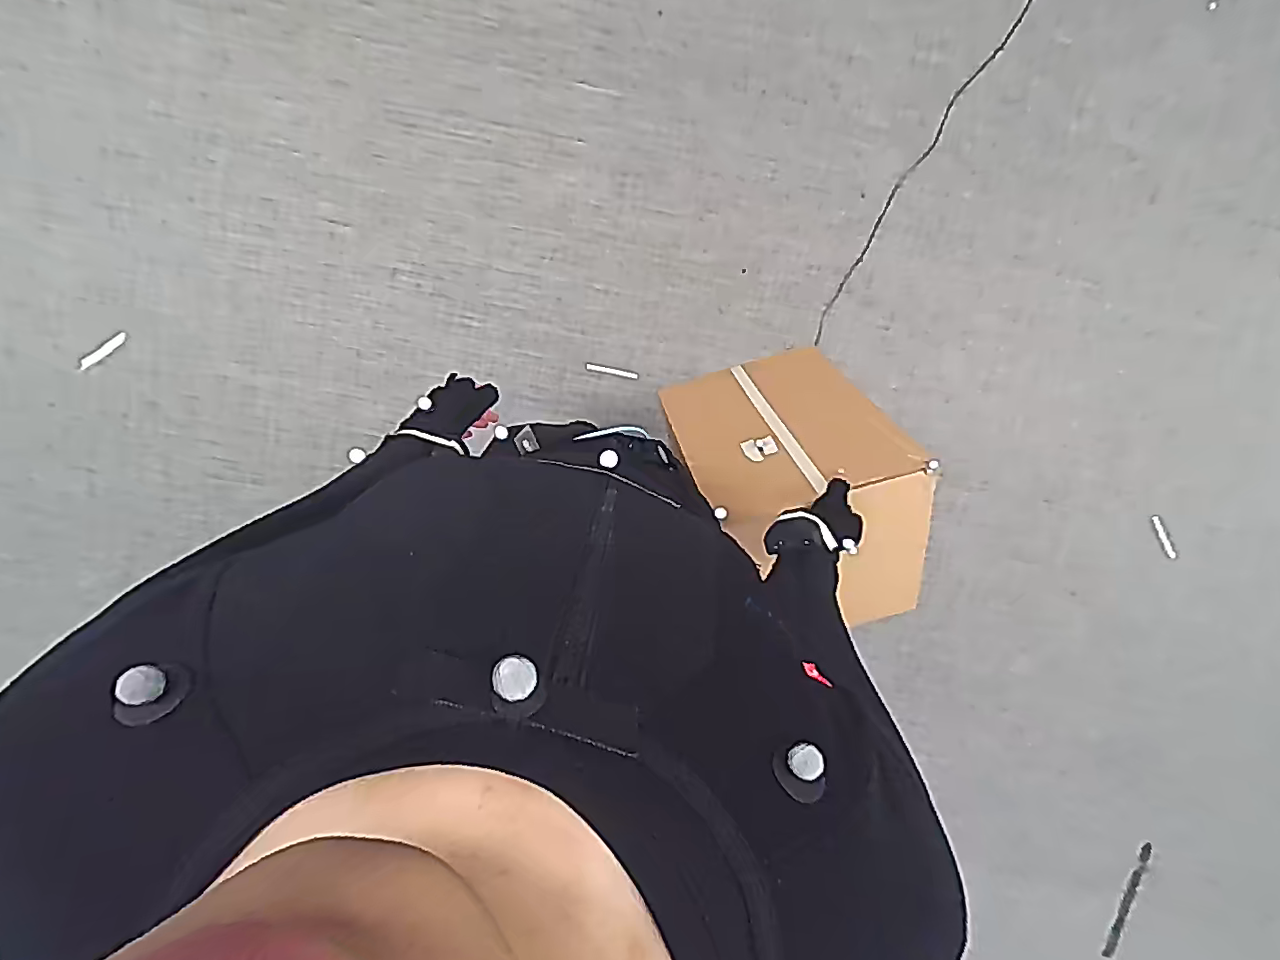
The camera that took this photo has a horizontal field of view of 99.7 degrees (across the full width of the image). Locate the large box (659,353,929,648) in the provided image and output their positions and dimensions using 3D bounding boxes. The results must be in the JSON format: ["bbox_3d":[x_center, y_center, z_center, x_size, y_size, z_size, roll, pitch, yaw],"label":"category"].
[{"bbox_3d":[0.247,0.023,0.988,0.320,0.408,0.320,-16,129,1],"label":"large box"}]
